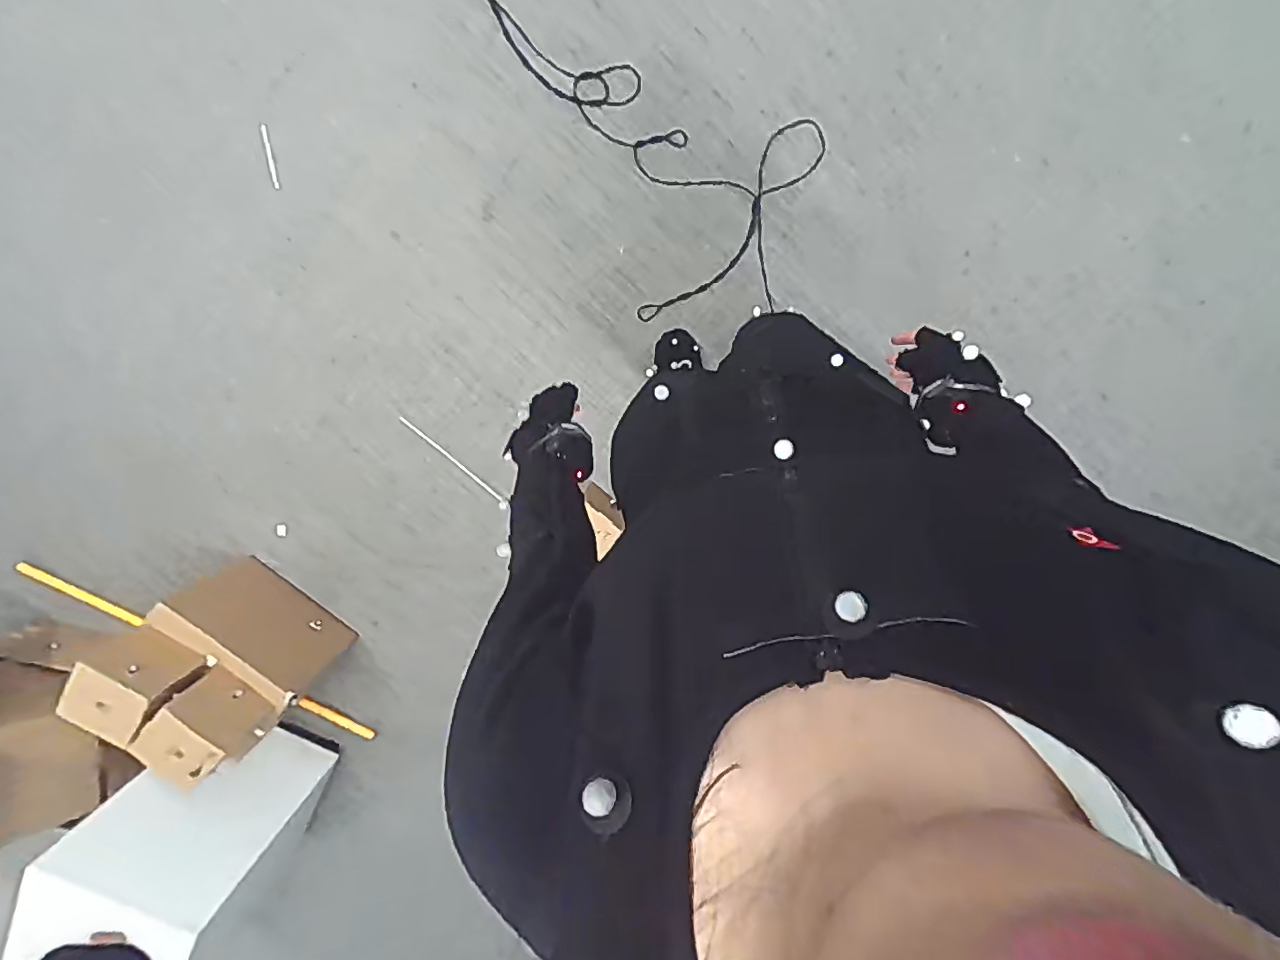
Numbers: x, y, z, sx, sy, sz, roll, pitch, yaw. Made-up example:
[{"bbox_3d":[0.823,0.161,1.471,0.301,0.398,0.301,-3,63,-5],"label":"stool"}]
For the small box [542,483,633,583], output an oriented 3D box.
[{"bbox_3d":[-0.132,0.136,1.453,0.168,0.176,0.179,40,104,-8],"label":"small box"}]
